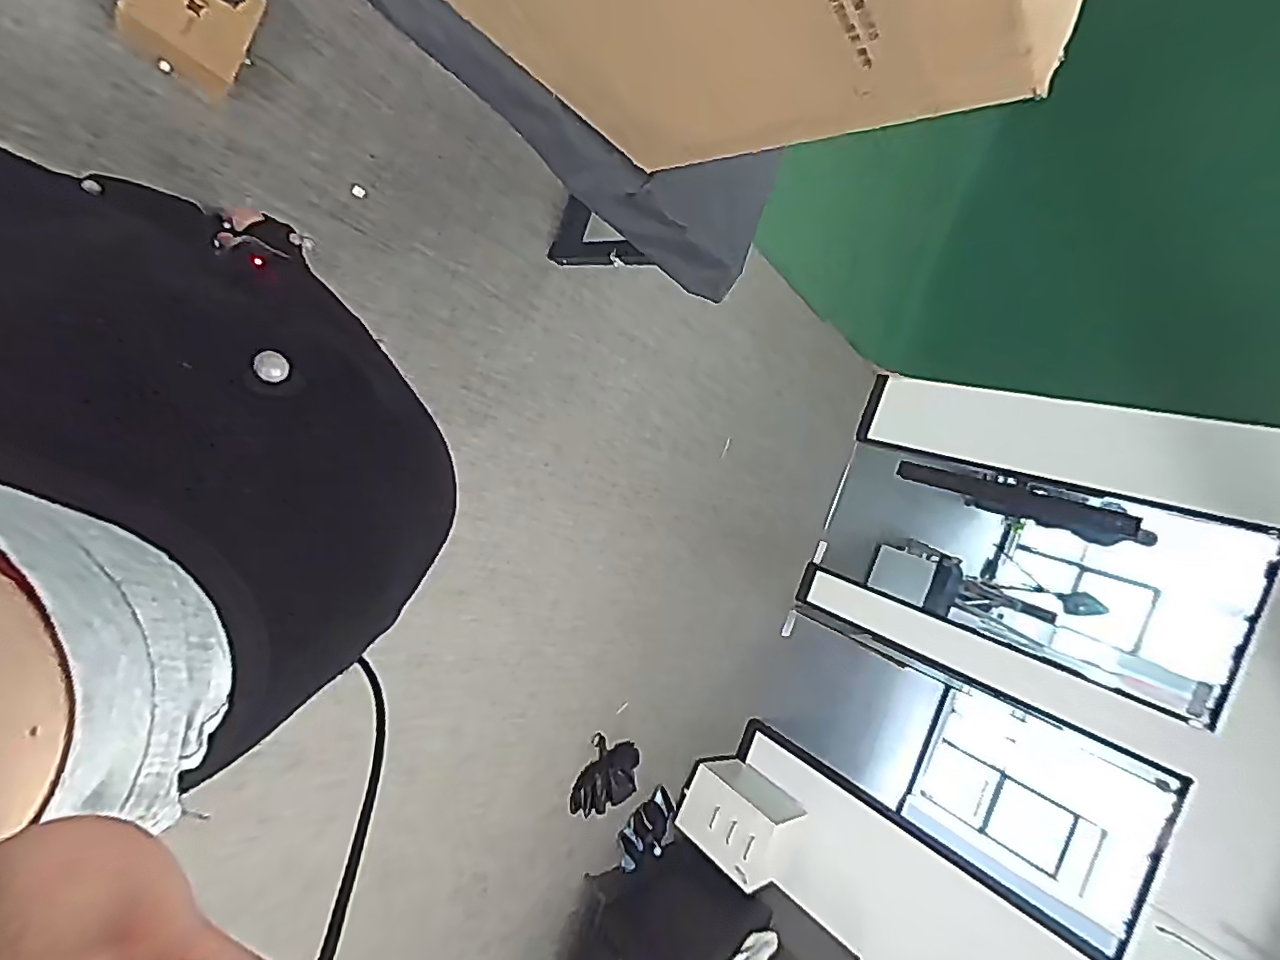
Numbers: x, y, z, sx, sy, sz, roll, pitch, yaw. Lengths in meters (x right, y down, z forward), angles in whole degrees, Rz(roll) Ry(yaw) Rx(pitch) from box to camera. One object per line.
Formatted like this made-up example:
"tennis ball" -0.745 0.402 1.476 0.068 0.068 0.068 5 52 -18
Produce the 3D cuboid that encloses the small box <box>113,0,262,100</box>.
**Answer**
"small box" -0.848 -0.860 1.009 0.168 0.176 0.179 23 89 -47
